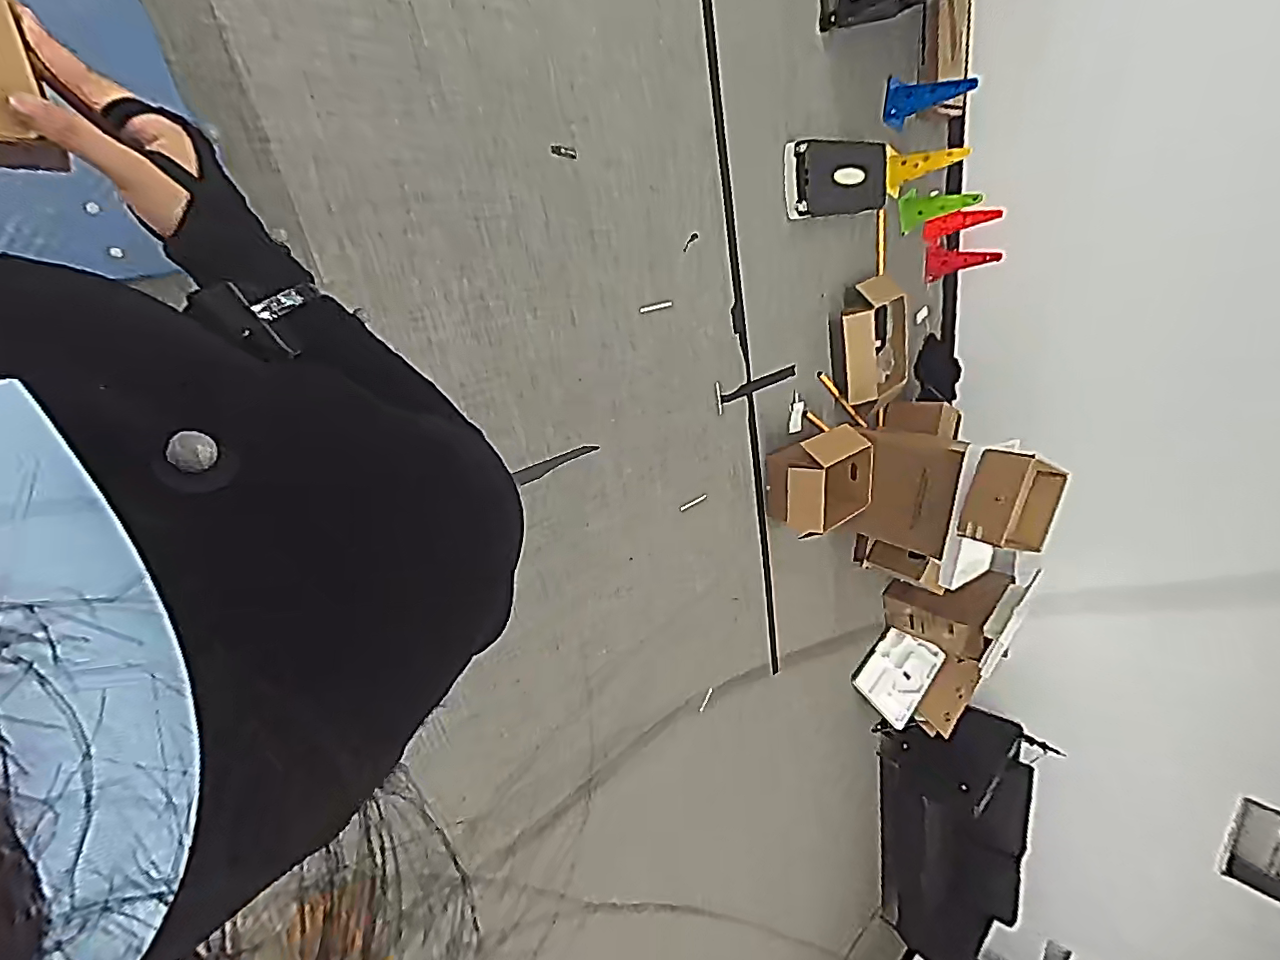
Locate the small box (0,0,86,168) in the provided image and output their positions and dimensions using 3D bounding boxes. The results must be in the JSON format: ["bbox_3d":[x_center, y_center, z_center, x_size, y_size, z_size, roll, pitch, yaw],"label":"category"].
[{"bbox_3d":[-0.454,-0.293,0.303,0.168,0.176,0.179,-17,119,-38],"label":"small box"}]

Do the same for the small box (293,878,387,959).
[{"bbox_3d":[-0.849,1.287,1.529,0.168,0.176,0.179,-28,117,-33],"label":"small box"}]
